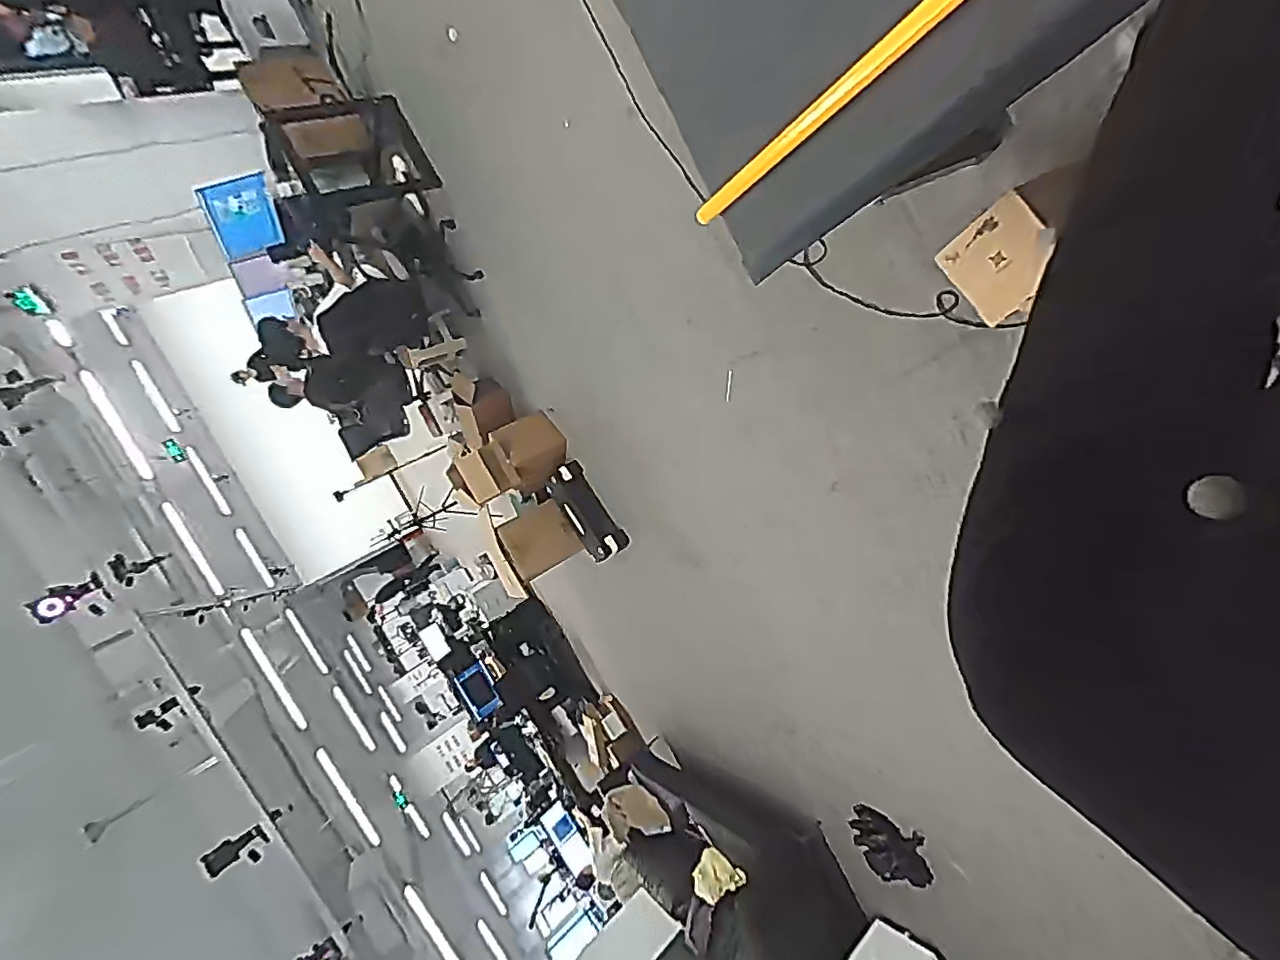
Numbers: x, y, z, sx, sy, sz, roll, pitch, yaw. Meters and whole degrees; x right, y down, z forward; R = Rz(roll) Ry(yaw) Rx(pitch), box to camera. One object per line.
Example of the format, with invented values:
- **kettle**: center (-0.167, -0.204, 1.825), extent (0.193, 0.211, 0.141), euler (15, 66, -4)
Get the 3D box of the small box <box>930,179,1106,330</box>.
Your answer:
- **small box**: center (0.692, -0.415, 0.992), extent (0.179, 0.176, 0.168), euler (55, 154, 8)
